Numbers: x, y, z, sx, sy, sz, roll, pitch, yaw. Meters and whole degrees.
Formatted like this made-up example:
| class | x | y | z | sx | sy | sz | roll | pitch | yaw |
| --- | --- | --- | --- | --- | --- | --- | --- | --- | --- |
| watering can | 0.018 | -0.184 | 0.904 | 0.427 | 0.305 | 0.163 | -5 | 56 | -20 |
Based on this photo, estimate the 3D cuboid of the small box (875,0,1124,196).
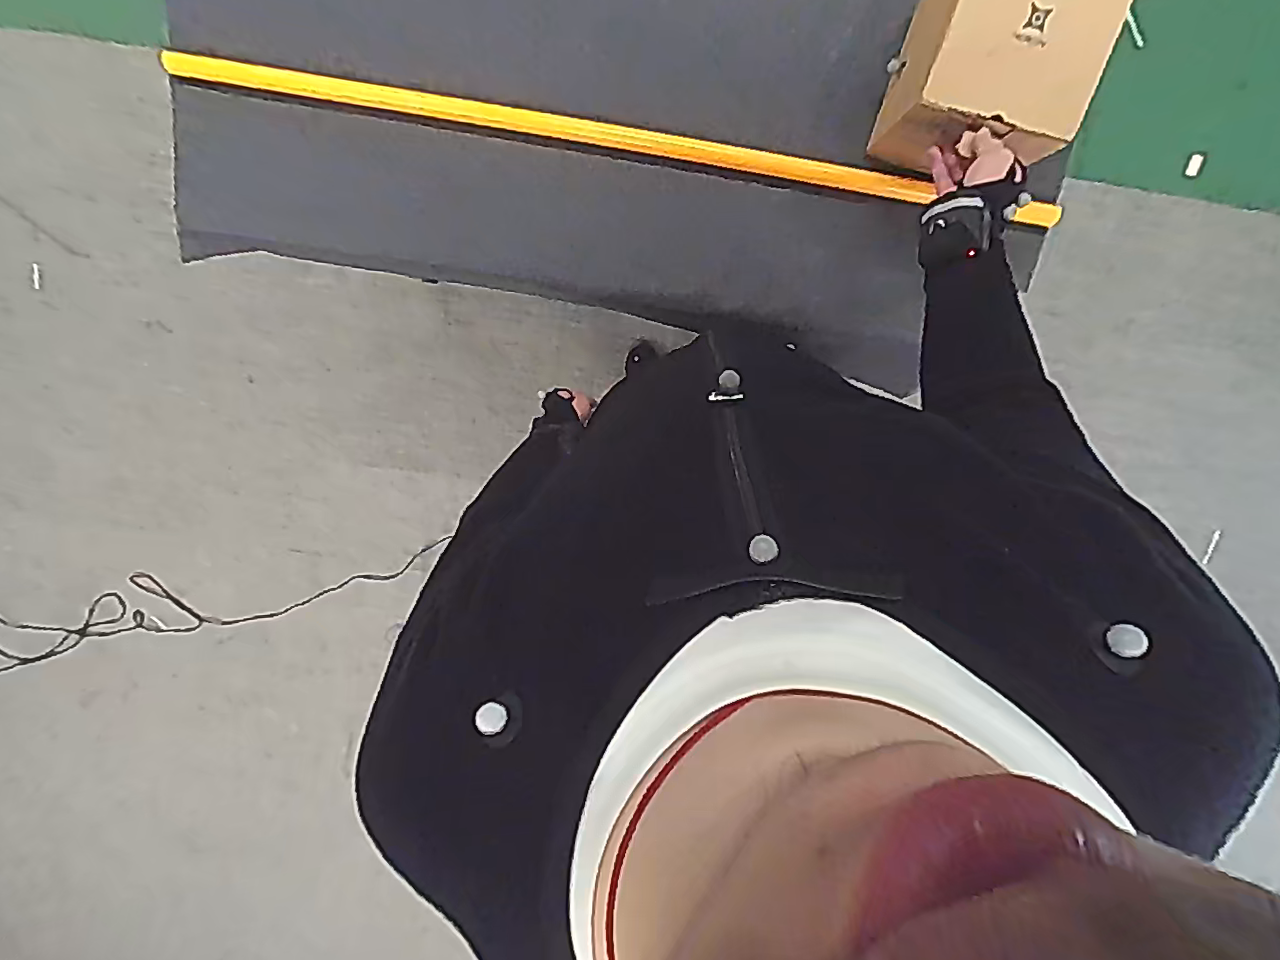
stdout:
| class | x | y | z | sx | sy | sz | roll | pitch | yaw |
| --- | --- | --- | --- | --- | --- | --- | --- | --- | --- |
| small box | 0.399 | -0.461 | 0.636 | 0.168 | 0.176 | 0.179 | 14 | 102 | 2 |
